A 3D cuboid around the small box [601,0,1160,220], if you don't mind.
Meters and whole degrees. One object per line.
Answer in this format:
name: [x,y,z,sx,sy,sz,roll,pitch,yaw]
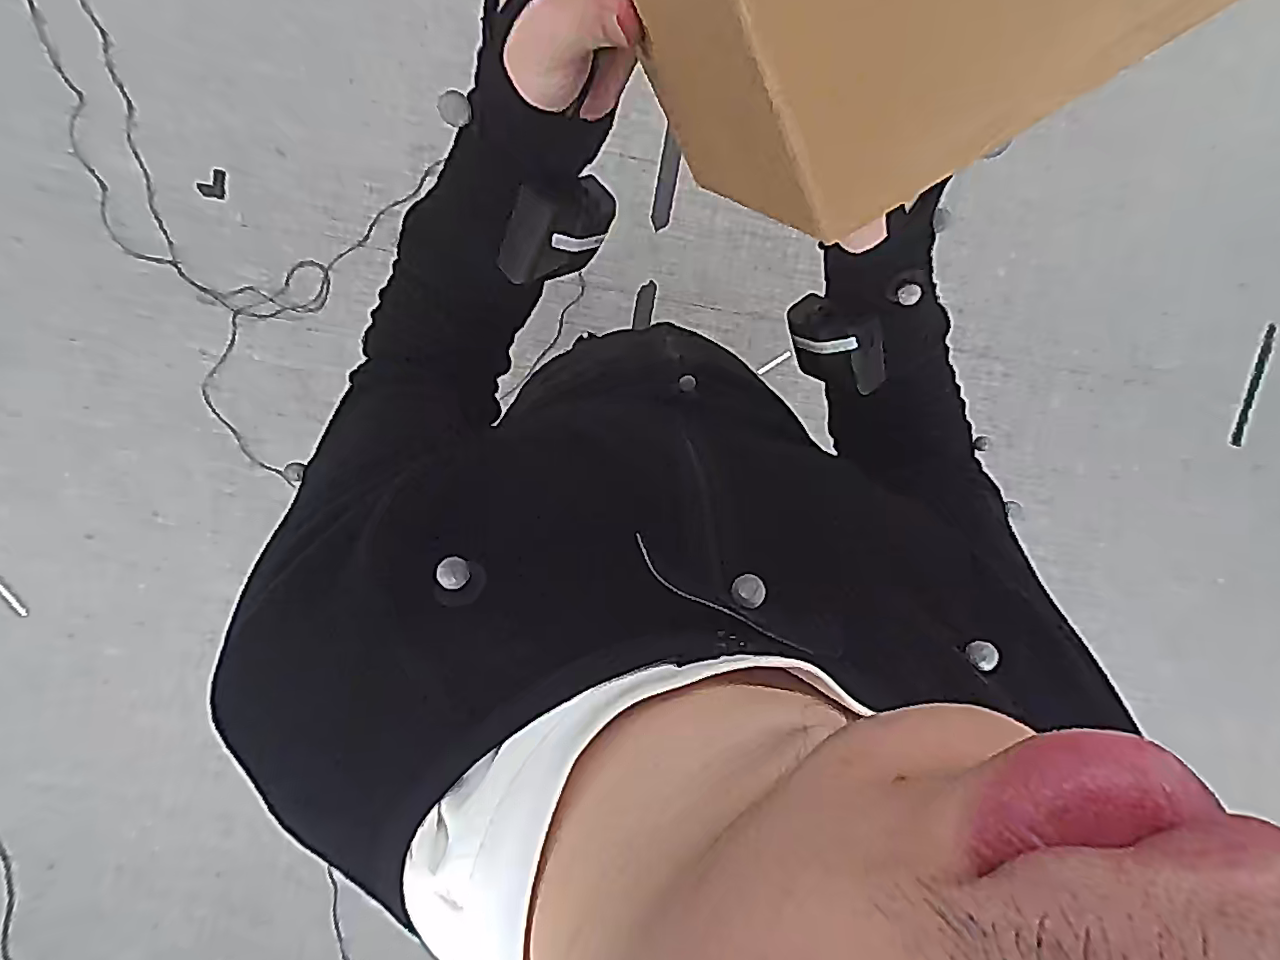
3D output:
small box: [0.064,-0.203,0.143,0.179,0.176,0.168,-29,120,13]
